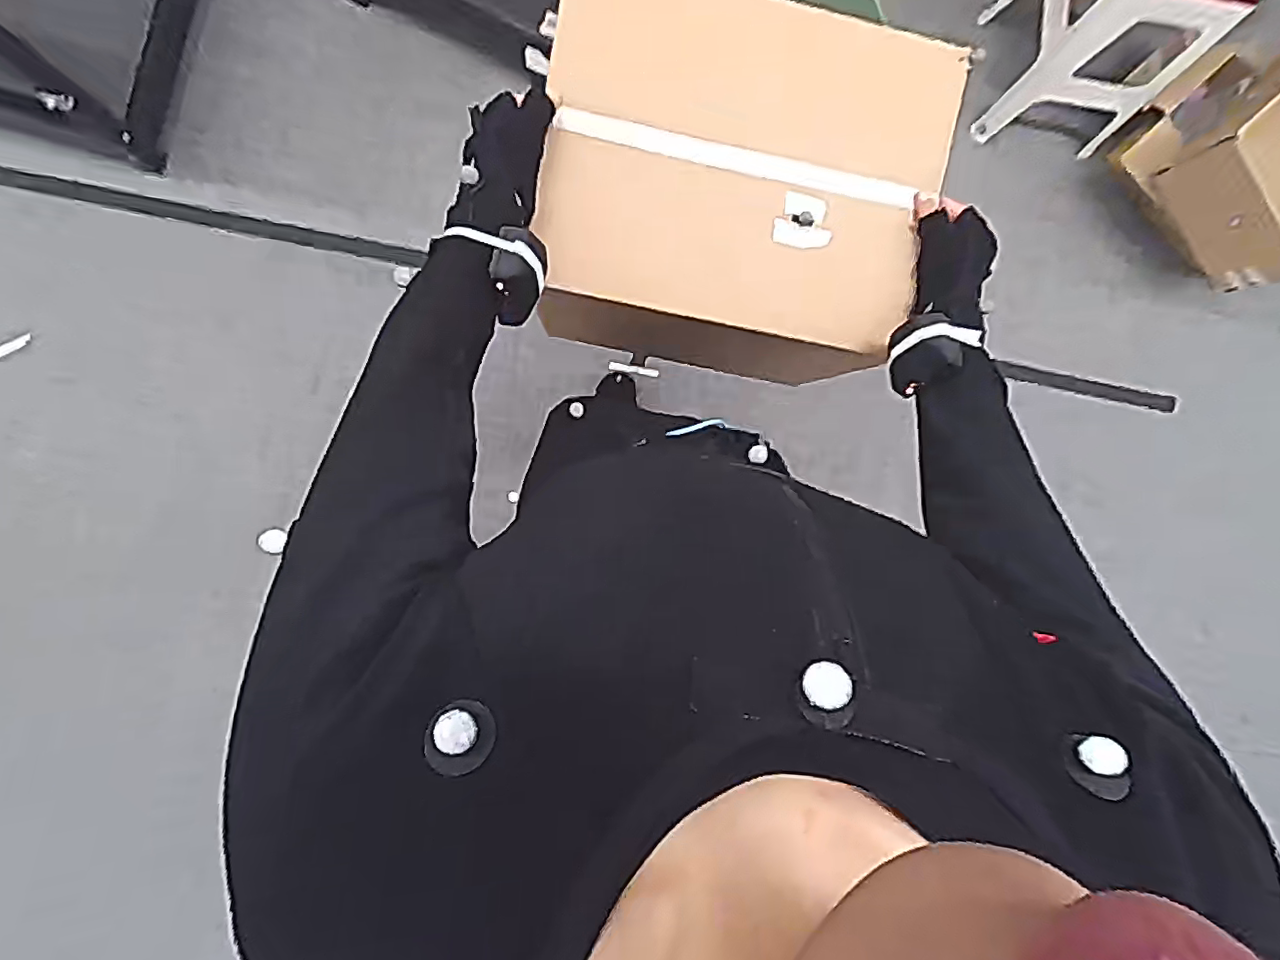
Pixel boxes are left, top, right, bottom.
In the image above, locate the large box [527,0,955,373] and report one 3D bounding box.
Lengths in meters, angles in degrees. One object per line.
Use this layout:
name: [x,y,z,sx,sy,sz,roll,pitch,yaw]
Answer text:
large box: [0.091,-0.339,0.692,0.408,0.320,0.320,10,95,-6]
